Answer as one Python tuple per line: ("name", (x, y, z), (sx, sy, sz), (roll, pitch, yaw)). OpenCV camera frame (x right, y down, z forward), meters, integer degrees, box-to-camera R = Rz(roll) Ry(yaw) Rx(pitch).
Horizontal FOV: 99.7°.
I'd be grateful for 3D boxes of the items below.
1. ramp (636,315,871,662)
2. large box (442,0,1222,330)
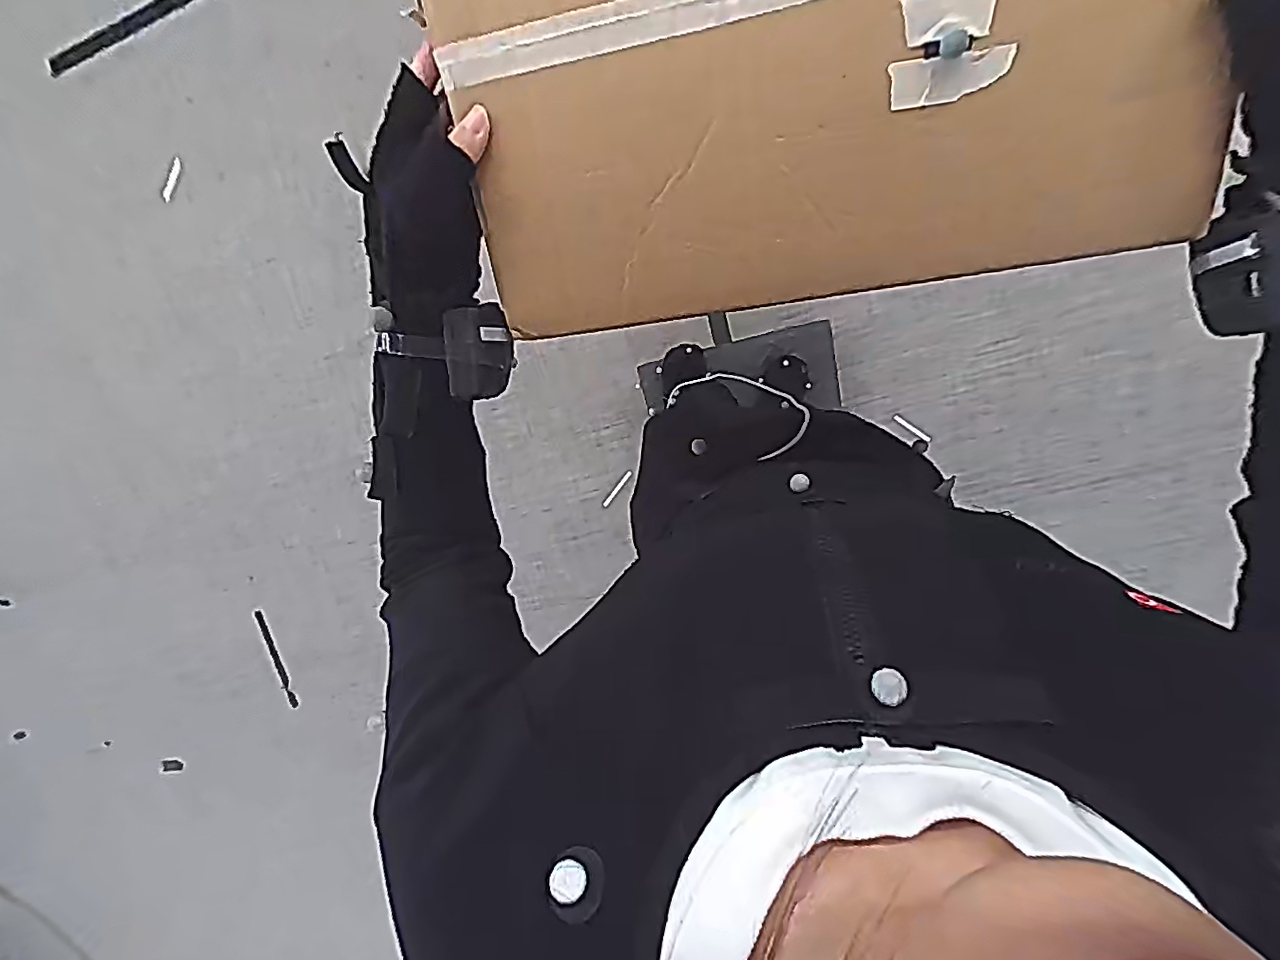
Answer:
("ramp", (0.351, 0.091, 1.529), (0.509, 0.206, 0.991), (-14, 101, 10))
("large box", (0.103, -0.325, 0.419), (0.408, 0.320, 0.320), (-6, 114, 10))
